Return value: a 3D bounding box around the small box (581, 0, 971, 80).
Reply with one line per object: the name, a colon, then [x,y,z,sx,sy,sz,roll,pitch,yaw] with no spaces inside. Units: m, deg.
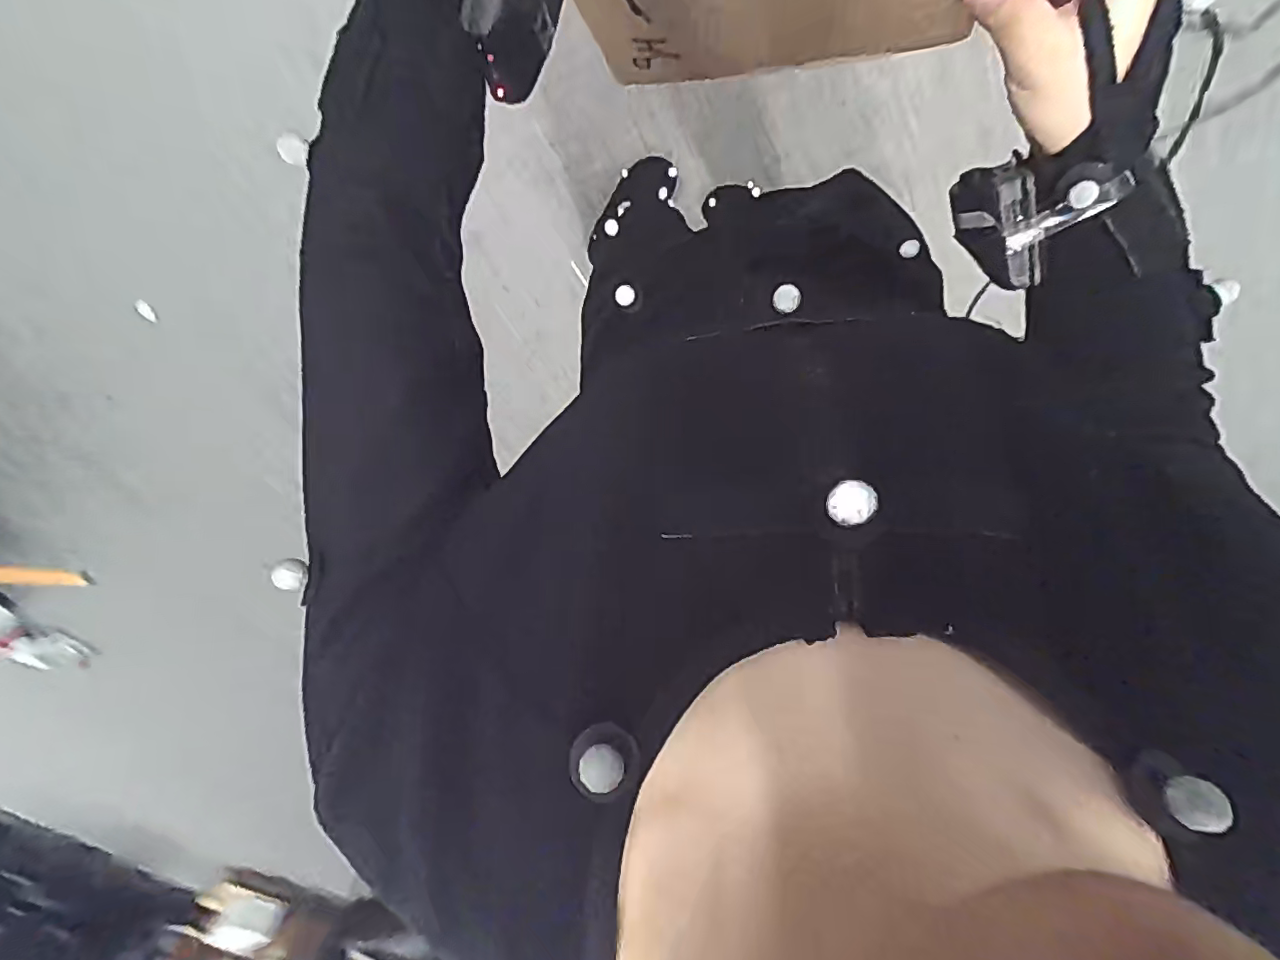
small box: [0.053,-0.291,0.196,0.179,0.168,0.176,4,99,14]
